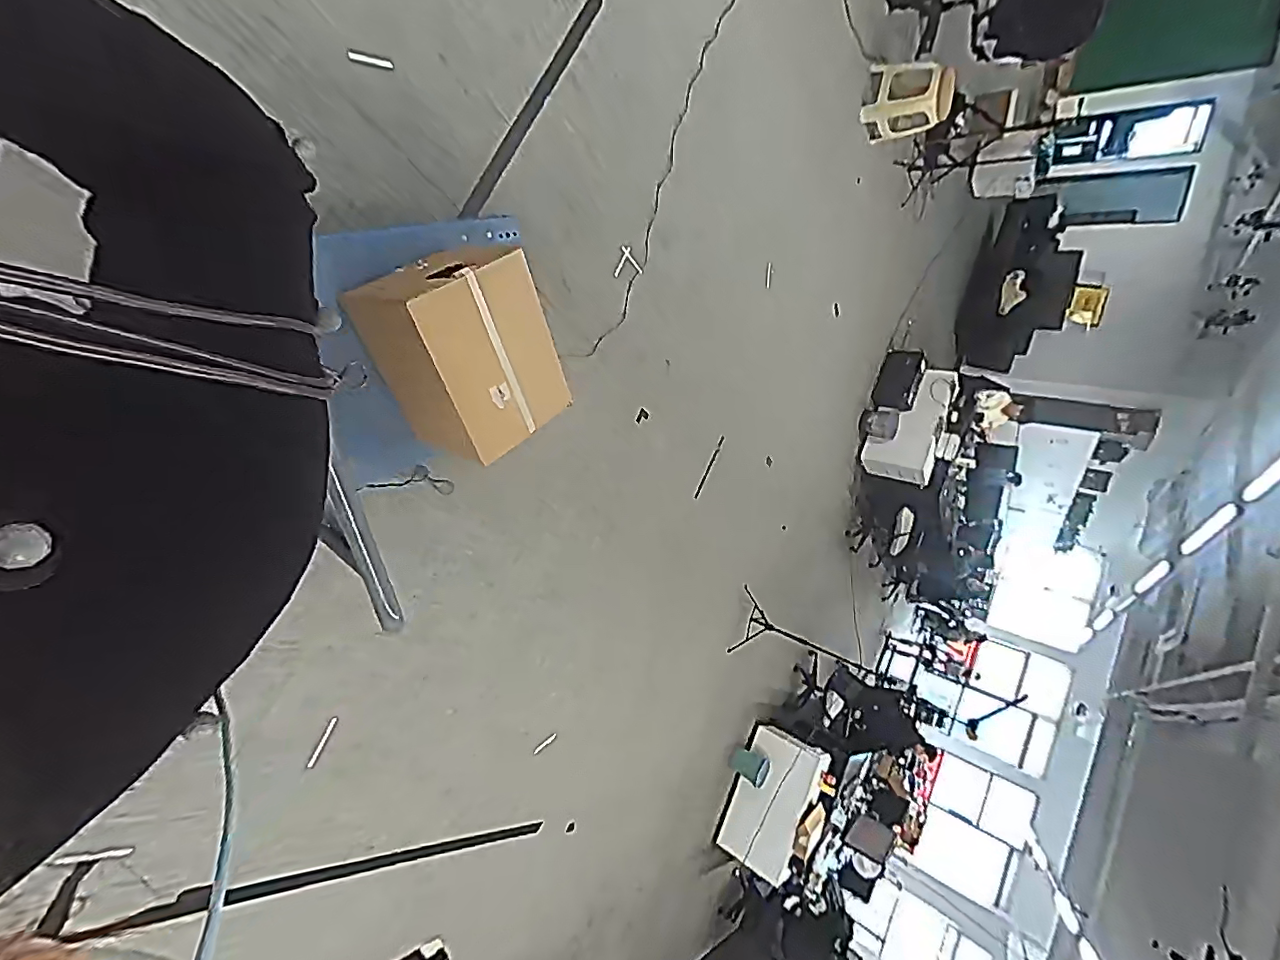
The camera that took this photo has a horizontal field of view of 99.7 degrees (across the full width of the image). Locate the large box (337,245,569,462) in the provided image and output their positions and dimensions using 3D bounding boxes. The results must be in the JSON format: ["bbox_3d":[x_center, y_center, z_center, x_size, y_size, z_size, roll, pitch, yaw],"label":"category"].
[{"bbox_3d":[-0.436,-0.316,1.319,0.320,0.320,0.408,-43,135,-33],"label":"large box"}]
